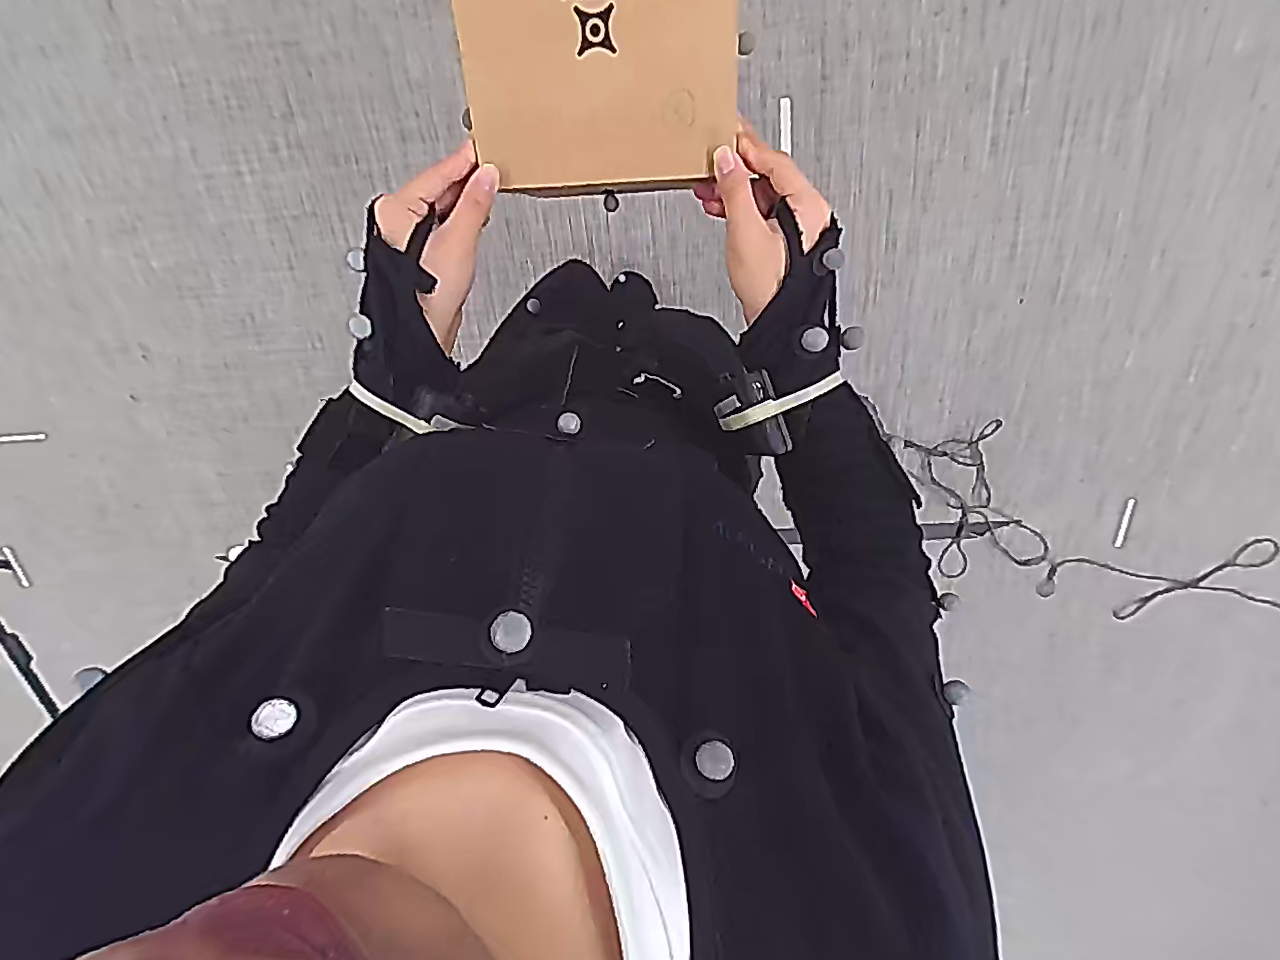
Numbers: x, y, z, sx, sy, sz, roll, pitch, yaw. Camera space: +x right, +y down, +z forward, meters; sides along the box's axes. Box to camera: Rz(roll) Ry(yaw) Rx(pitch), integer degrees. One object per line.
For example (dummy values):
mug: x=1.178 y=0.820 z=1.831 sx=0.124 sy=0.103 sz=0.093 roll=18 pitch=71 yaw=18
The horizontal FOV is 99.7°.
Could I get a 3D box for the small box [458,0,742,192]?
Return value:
small box: x=-0.019 y=-0.305 z=0.382 sx=0.168 sy=0.176 sz=0.179 roll=-2 pitch=116 yaw=3
